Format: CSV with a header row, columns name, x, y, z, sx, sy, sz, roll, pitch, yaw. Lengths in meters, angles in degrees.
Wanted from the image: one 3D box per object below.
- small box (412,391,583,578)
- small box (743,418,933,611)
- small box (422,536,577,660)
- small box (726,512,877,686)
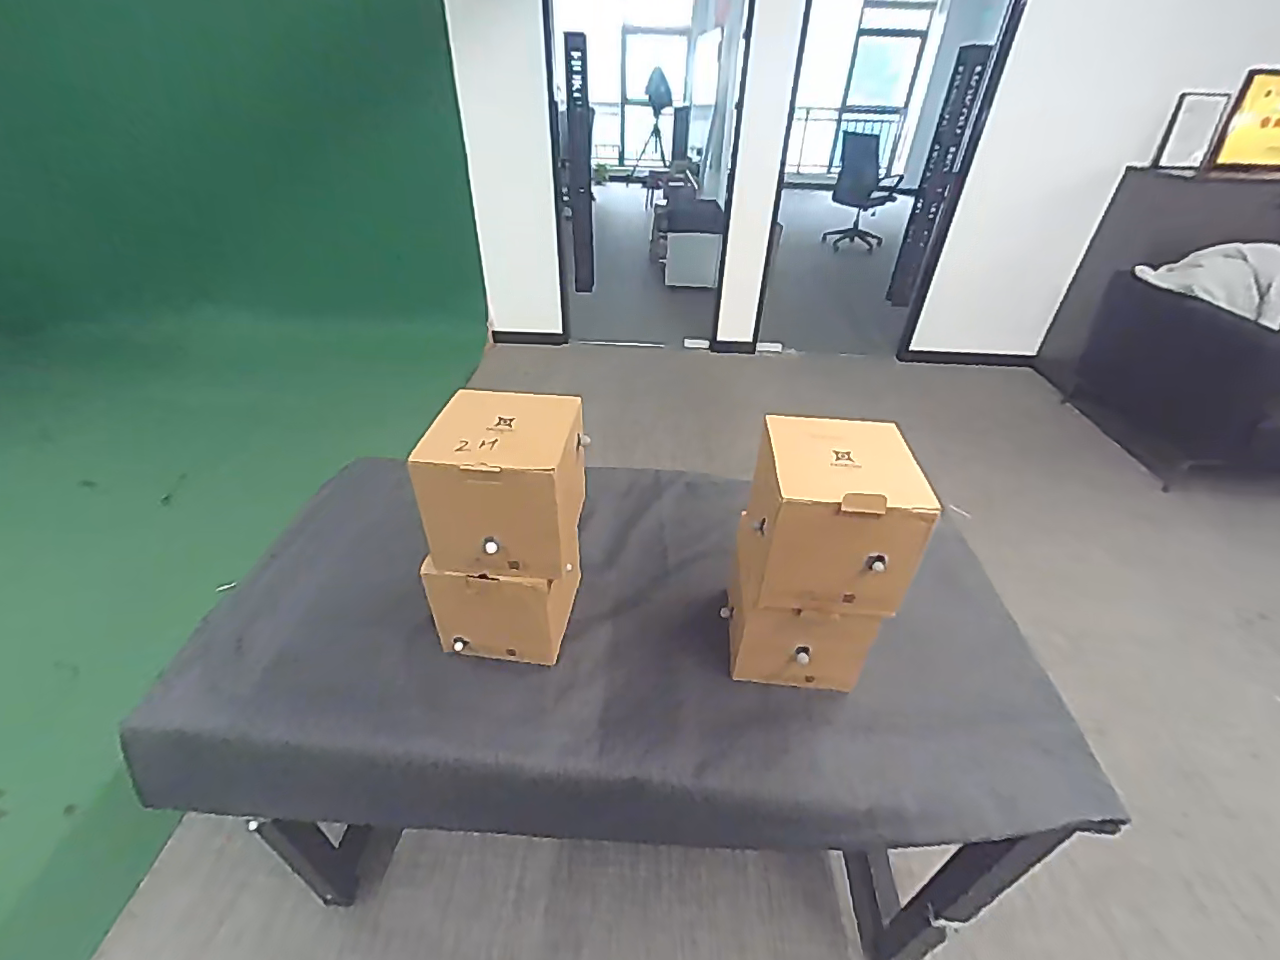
name,x,y,z,sx,sy,sz,roll,pitch,yaw
small box,-0.168,0.002,0.702,0.168,0.176,0.179,3,36,3
small box,0.226,0.041,0.671,0.168,0.176,0.179,5,35,2
small box,-0.189,0.139,0.793,0.168,0.176,0.179,6,35,5
small box,0.216,0.169,0.772,0.168,0.176,0.179,5,37,3
